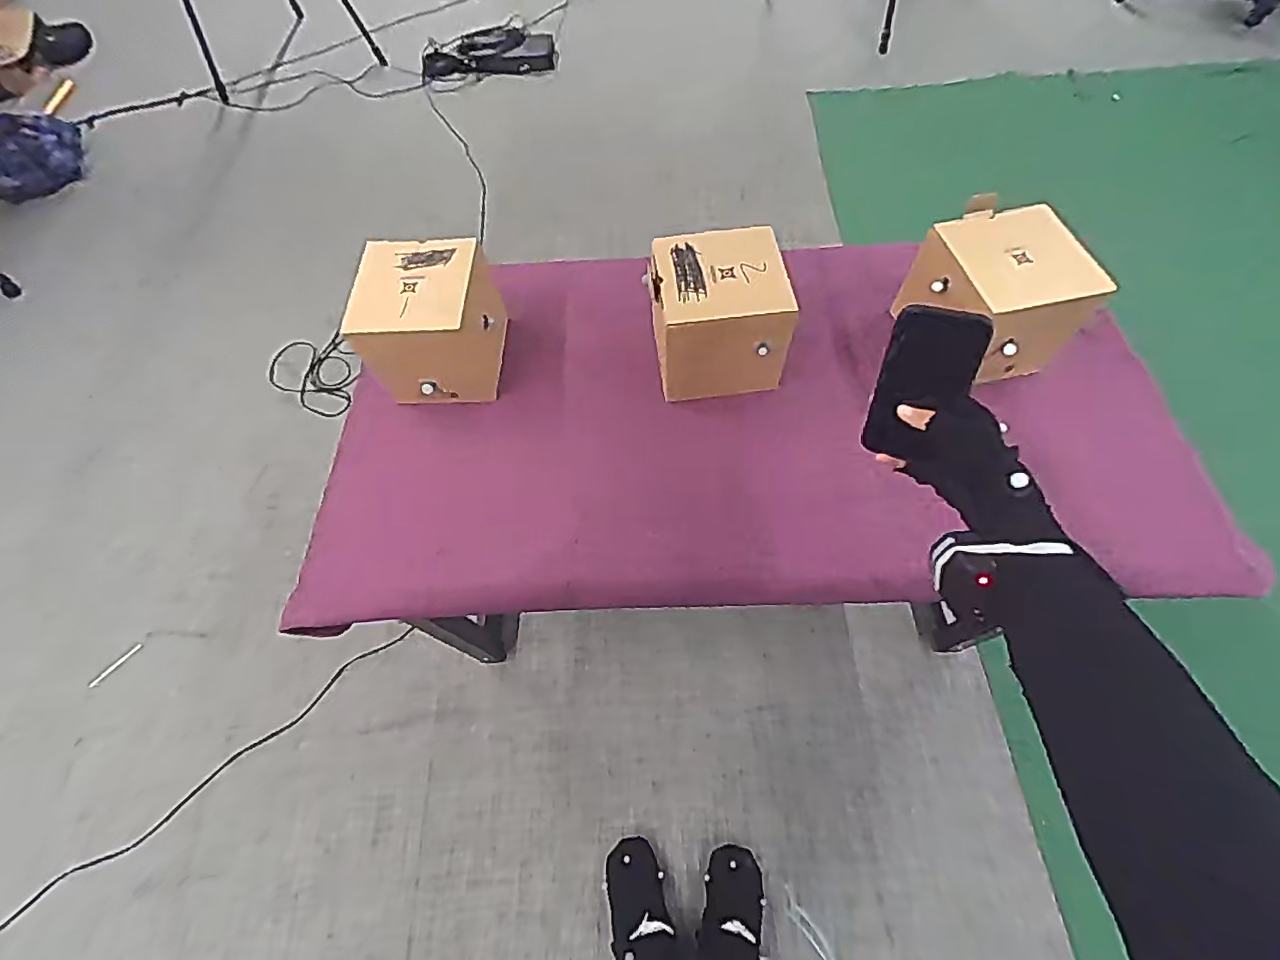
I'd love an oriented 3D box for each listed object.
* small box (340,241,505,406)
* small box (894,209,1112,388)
[{"bbox_3d":[-0.311,-0.231,0.818,0.168,0.176,0.179,-1,64,3],"label":"small box"},{"bbox_3d":[0.502,-0.251,0.782,0.168,0.176,0.179,-11,62,-2],"label":"small box"}]
